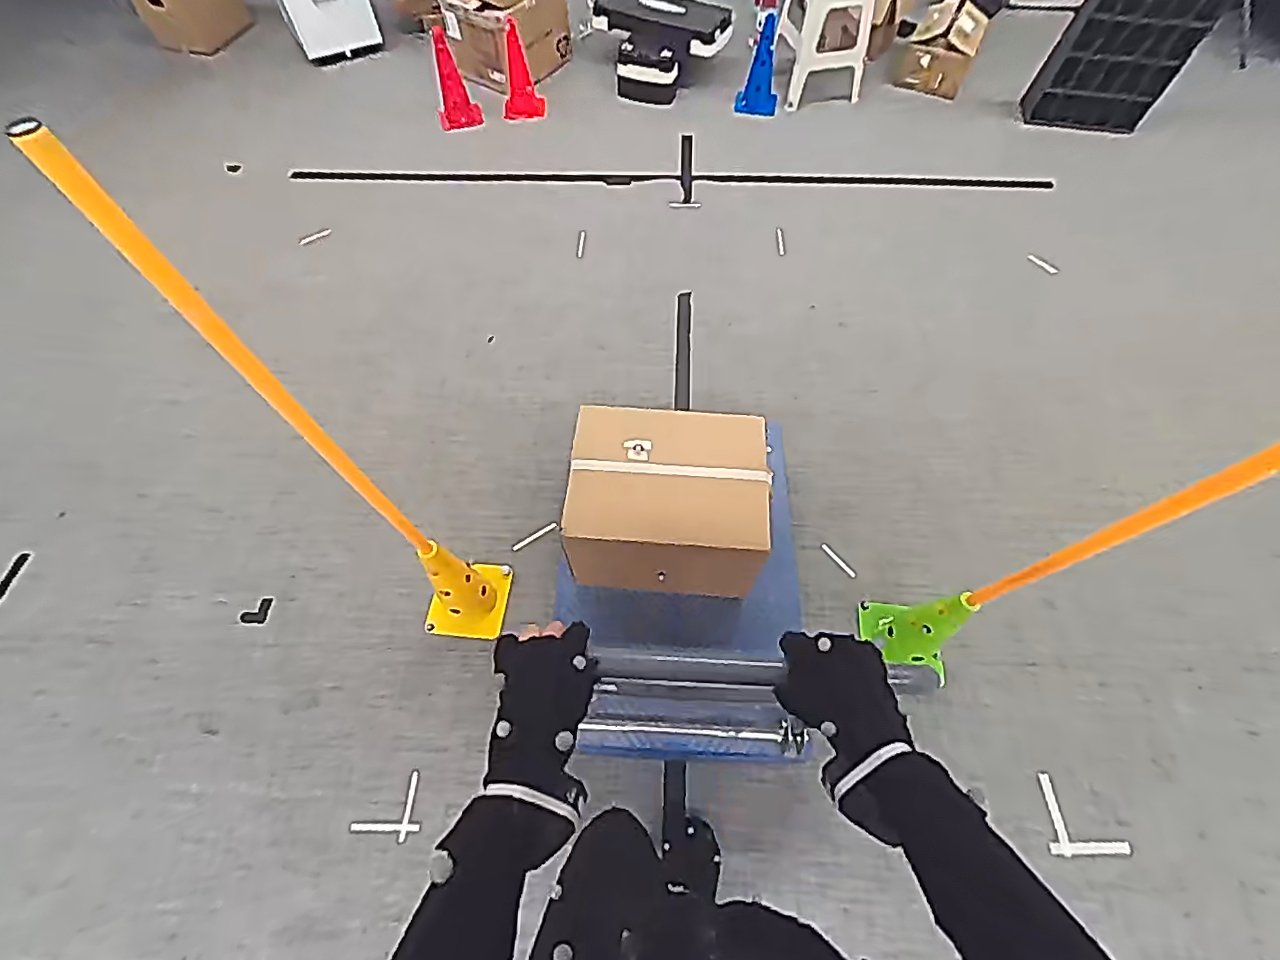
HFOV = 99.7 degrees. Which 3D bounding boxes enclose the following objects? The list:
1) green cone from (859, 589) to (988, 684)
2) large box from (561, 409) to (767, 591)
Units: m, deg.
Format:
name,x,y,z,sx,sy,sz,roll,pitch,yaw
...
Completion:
name,x,y,z,sx,sy,sz,roll,pitch,yaw
green cone,0.674,0.330,1.246,0.202,0.368,0.200,6,61,2
large box,0.059,0.057,1.238,0.408,0.320,0.320,4,61,3
